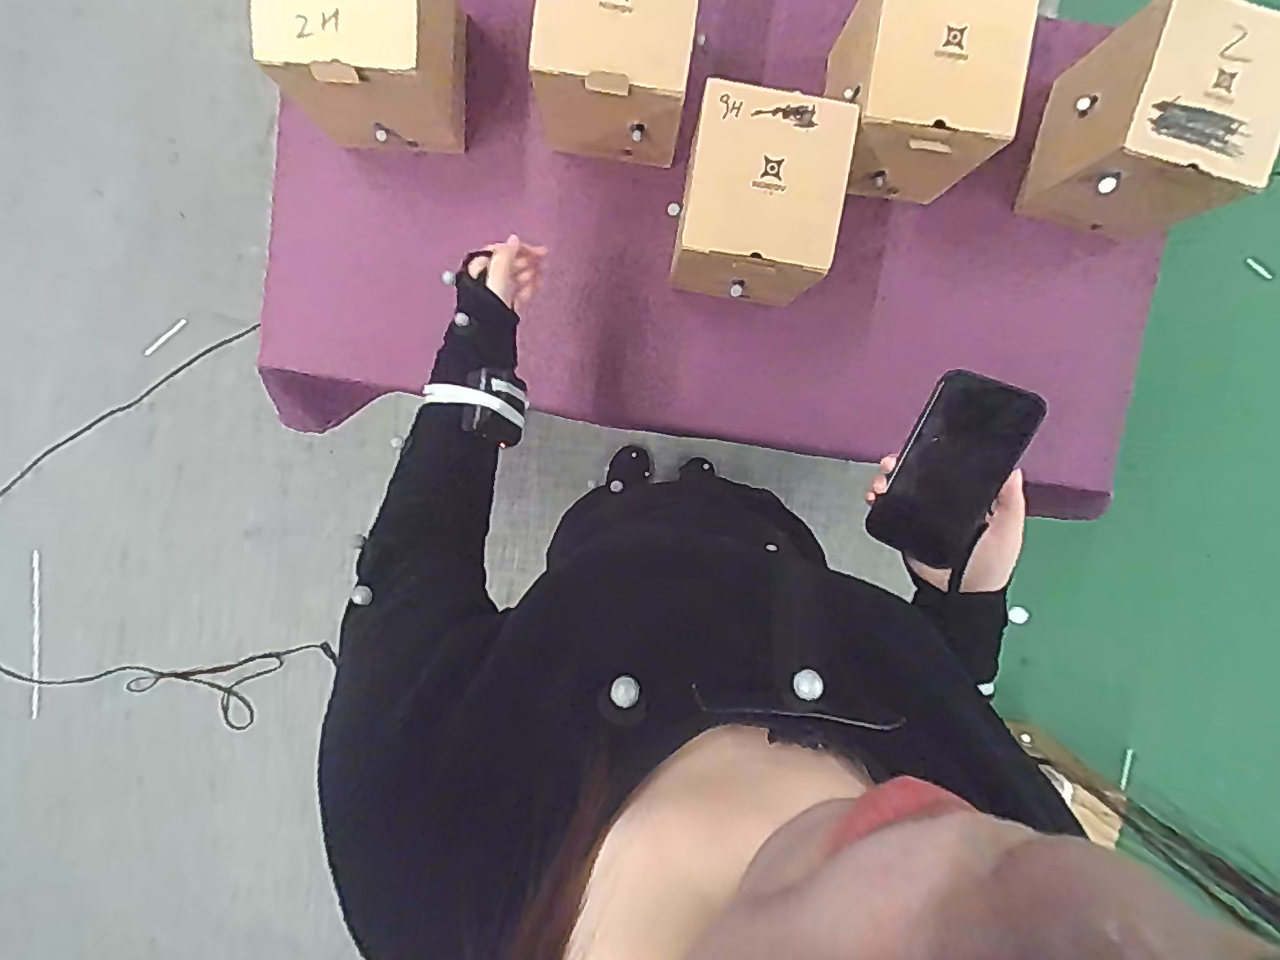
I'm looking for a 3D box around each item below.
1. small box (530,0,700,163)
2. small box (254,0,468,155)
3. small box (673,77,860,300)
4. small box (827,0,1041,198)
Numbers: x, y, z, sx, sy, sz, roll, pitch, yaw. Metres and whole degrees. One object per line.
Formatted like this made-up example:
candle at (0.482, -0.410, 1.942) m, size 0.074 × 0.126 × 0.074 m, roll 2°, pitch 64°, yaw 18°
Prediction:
small box at (-0.023, -0.503, 0.629) m, size 0.168 × 0.176 × 0.179 m, roll 8°, pitch 95°, yaw -3°
small box at (-0.305, -0.511, 0.622) m, size 0.168 × 0.176 × 0.179 m, roll 3°, pitch 96°, yaw -1°
small box at (0.135, -0.328, 0.649) m, size 0.168 × 0.176 × 0.179 m, roll 9°, pitch 96°, yaw -2°
small box at (0.324, -0.466, 0.640) m, size 0.168 × 0.176 × 0.179 m, roll 6°, pitch 97°, yaw -2°
